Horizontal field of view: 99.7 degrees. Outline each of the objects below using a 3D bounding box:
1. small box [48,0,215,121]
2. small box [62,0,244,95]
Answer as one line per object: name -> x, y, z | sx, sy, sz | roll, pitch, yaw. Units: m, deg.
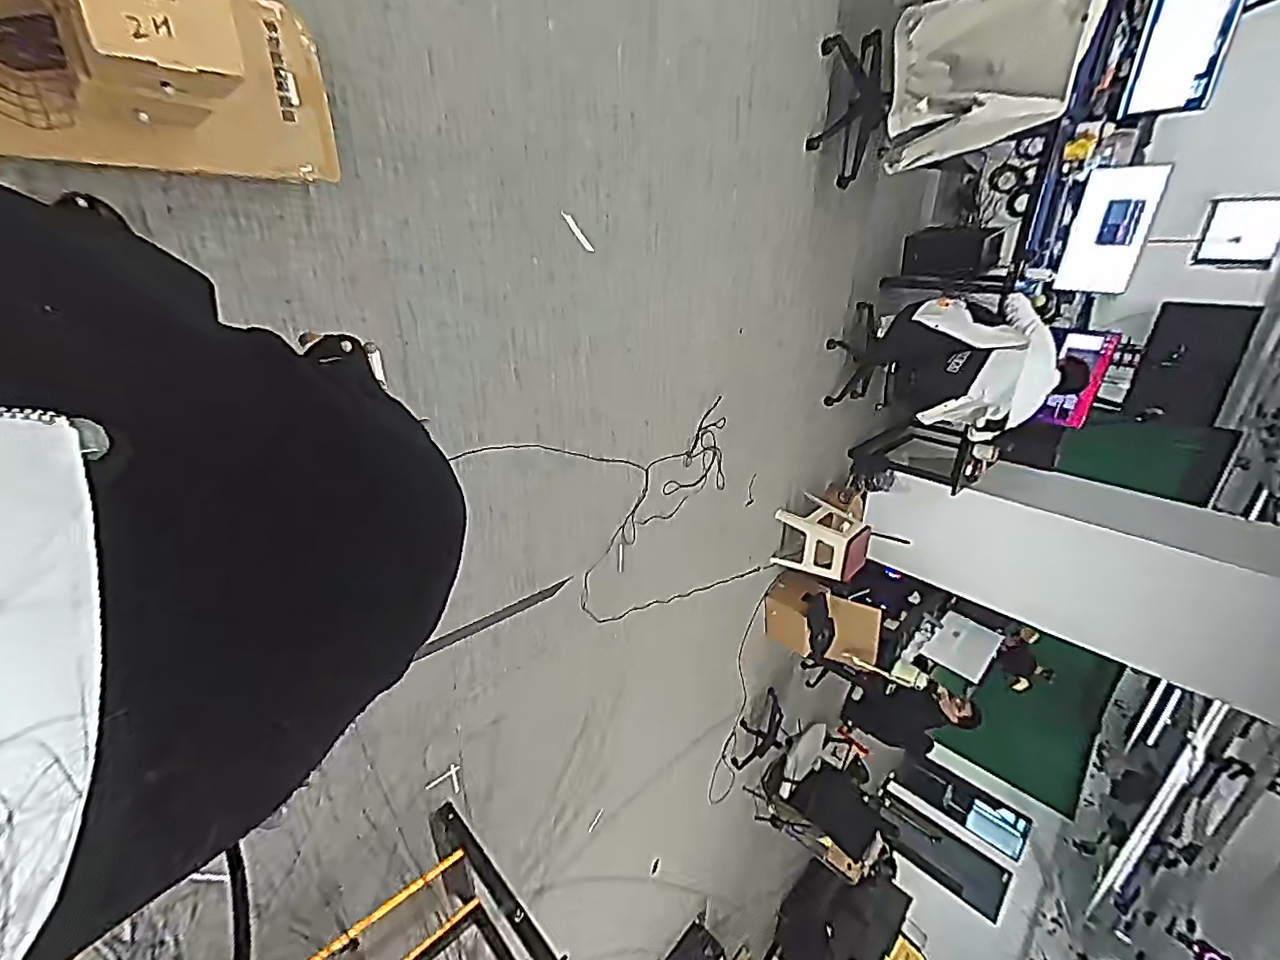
small box -> -0.808, -0.698, 0.857 | 0.168, 0.176, 0.179 | -16, 119, -42
small box -> -0.687, -0.664, 0.748 | 0.168, 0.176, 0.179 | -21, 122, -40
